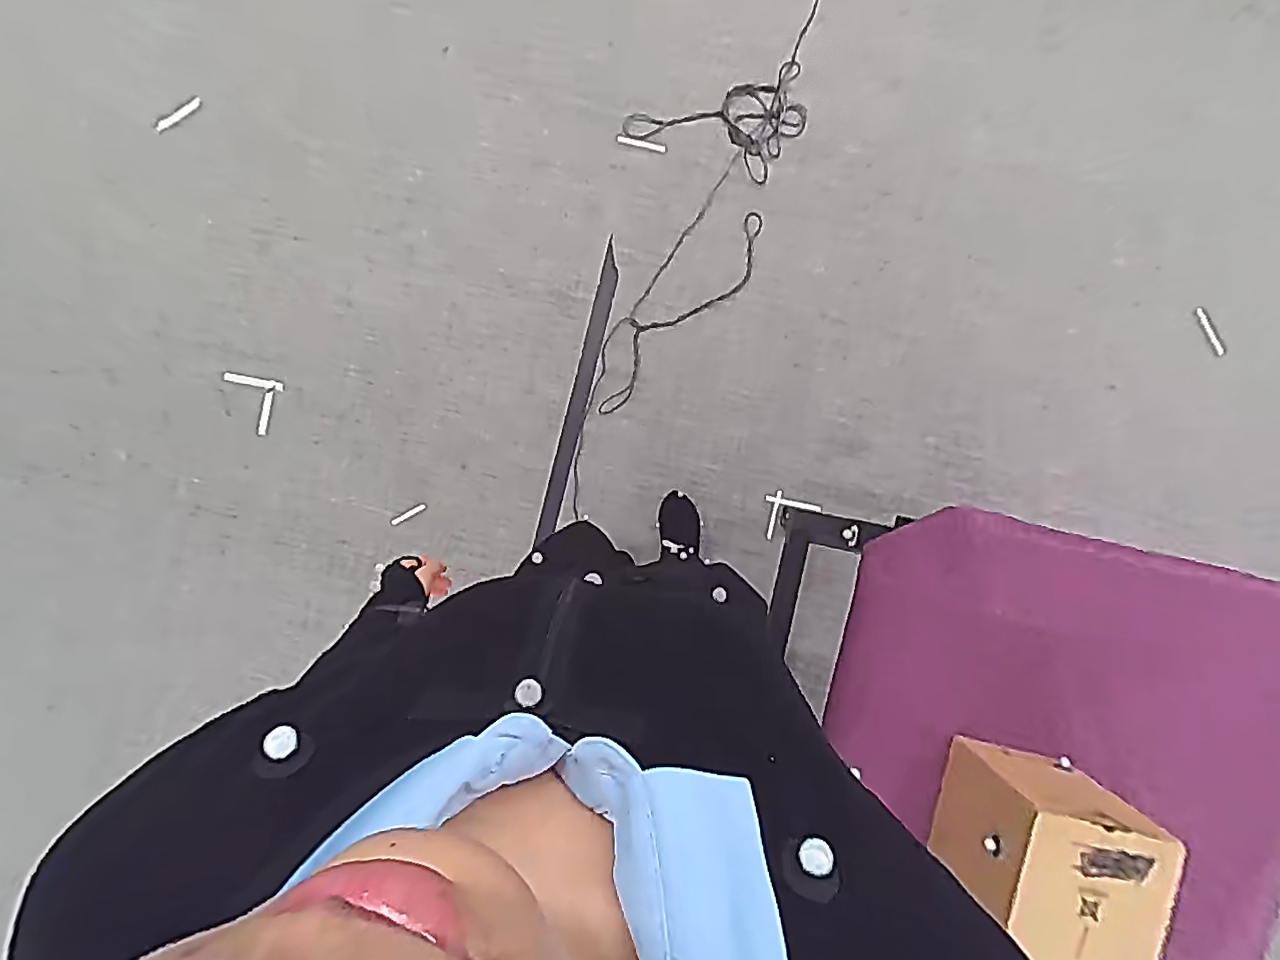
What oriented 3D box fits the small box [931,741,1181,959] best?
[{"bbox_3d":[0.495,0.458,0.672,0.168,0.176,0.179,13,91,2],"label":"small box"}]
